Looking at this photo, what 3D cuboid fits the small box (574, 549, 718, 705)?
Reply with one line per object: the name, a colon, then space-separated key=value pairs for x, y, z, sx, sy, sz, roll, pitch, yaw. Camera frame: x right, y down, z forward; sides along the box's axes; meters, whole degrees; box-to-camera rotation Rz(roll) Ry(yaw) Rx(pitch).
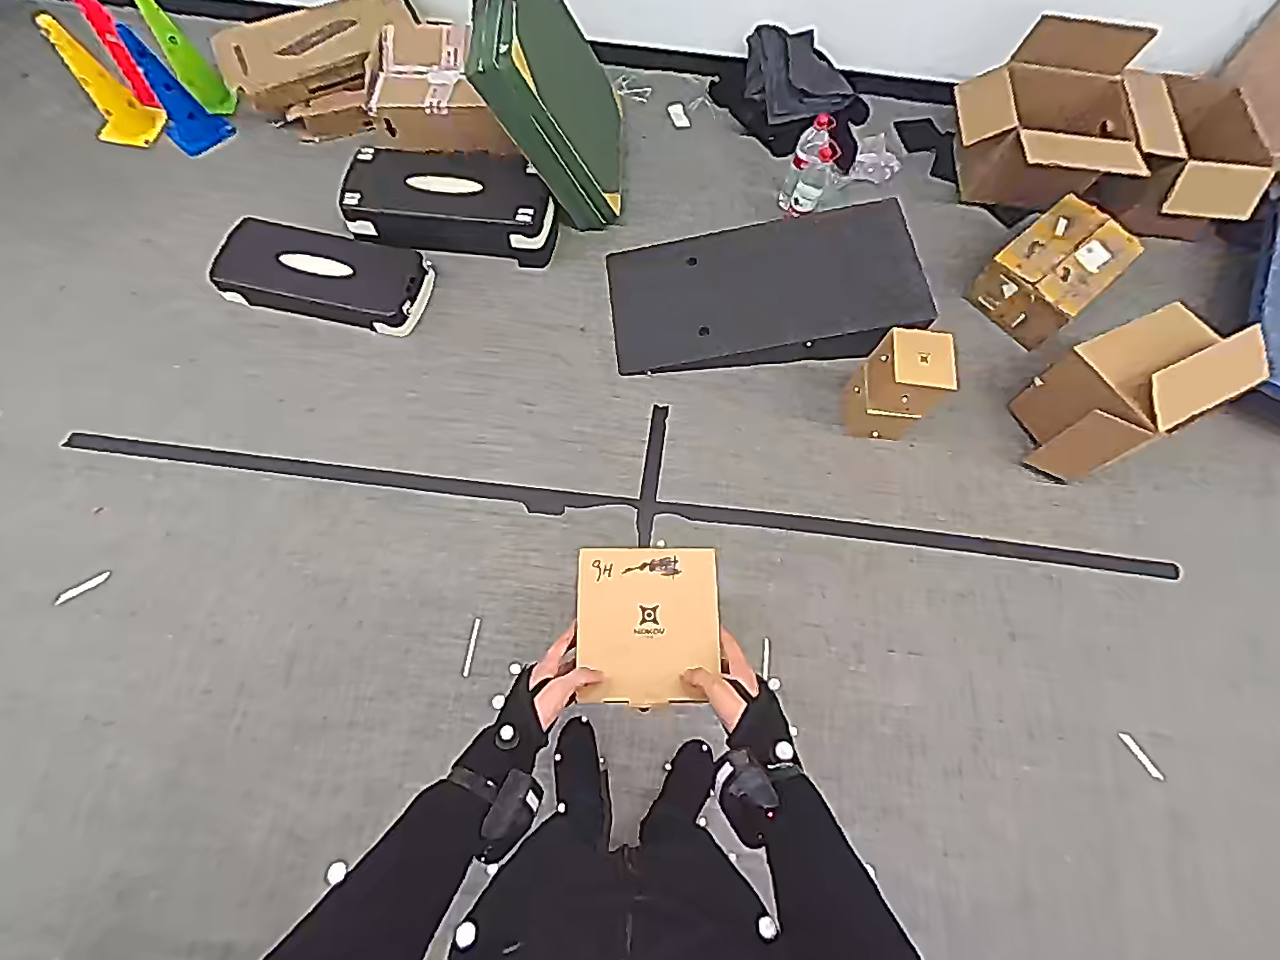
small box: x=0.007 y=0.189 z=0.706 sx=0.168 sy=0.176 sz=0.179 roll=1 pitch=74 yaw=-2
